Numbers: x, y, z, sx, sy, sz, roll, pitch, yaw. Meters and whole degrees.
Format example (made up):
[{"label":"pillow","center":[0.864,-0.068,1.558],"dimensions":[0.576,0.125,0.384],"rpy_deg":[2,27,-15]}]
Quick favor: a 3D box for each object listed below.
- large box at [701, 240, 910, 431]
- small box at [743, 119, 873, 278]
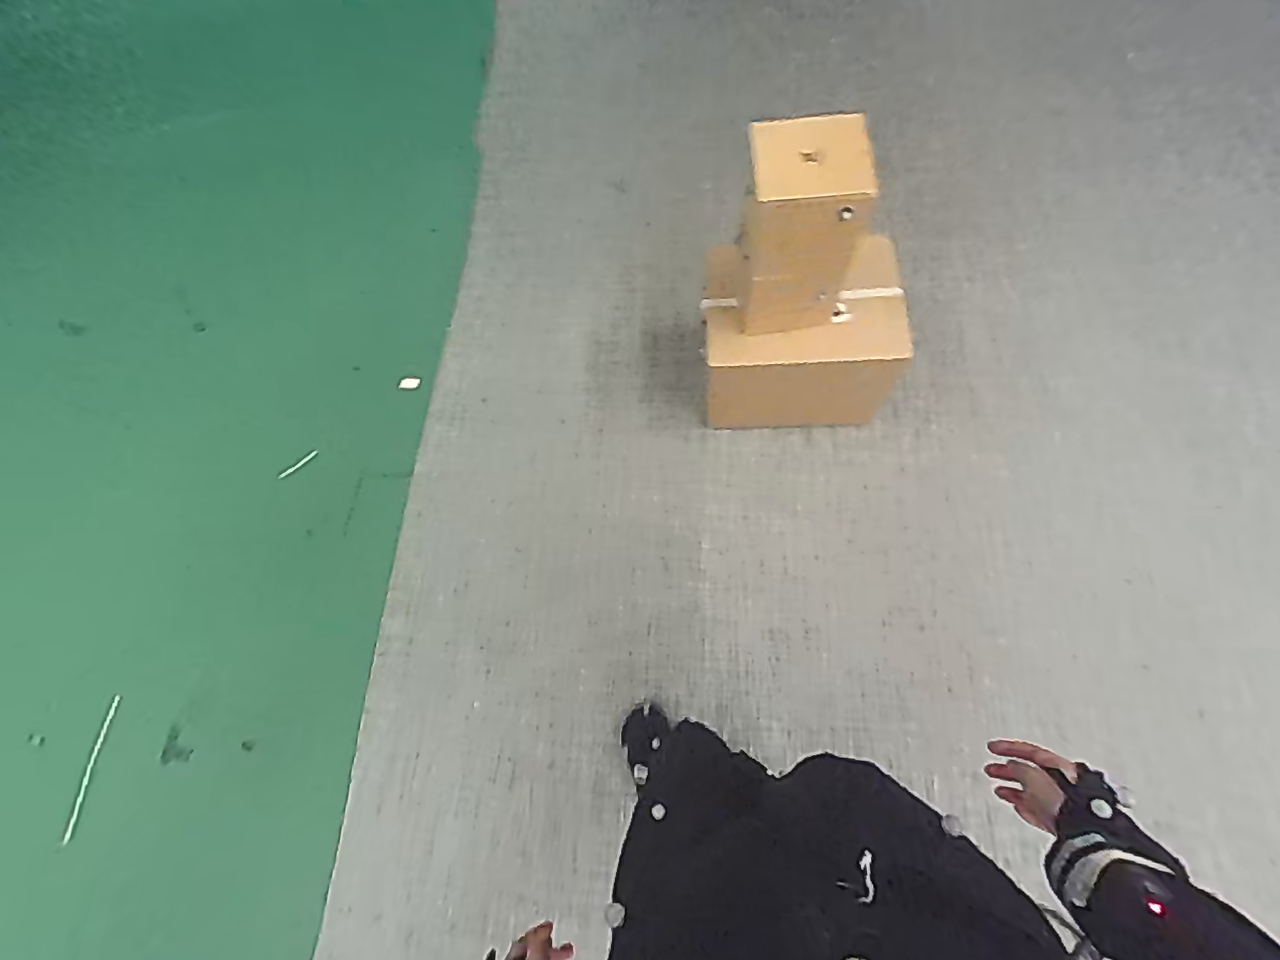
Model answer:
[{"label":"large box","center":[0.355,-0.323,1.282],"dimensions":[0.408,0.320,0.320],"rpy_deg":[-2,71,5]},{"label":"small box","center":[0.268,-0.461,0.906],"dimensions":[0.179,0.176,0.168],"rpy_deg":[-2,70,5]}]
